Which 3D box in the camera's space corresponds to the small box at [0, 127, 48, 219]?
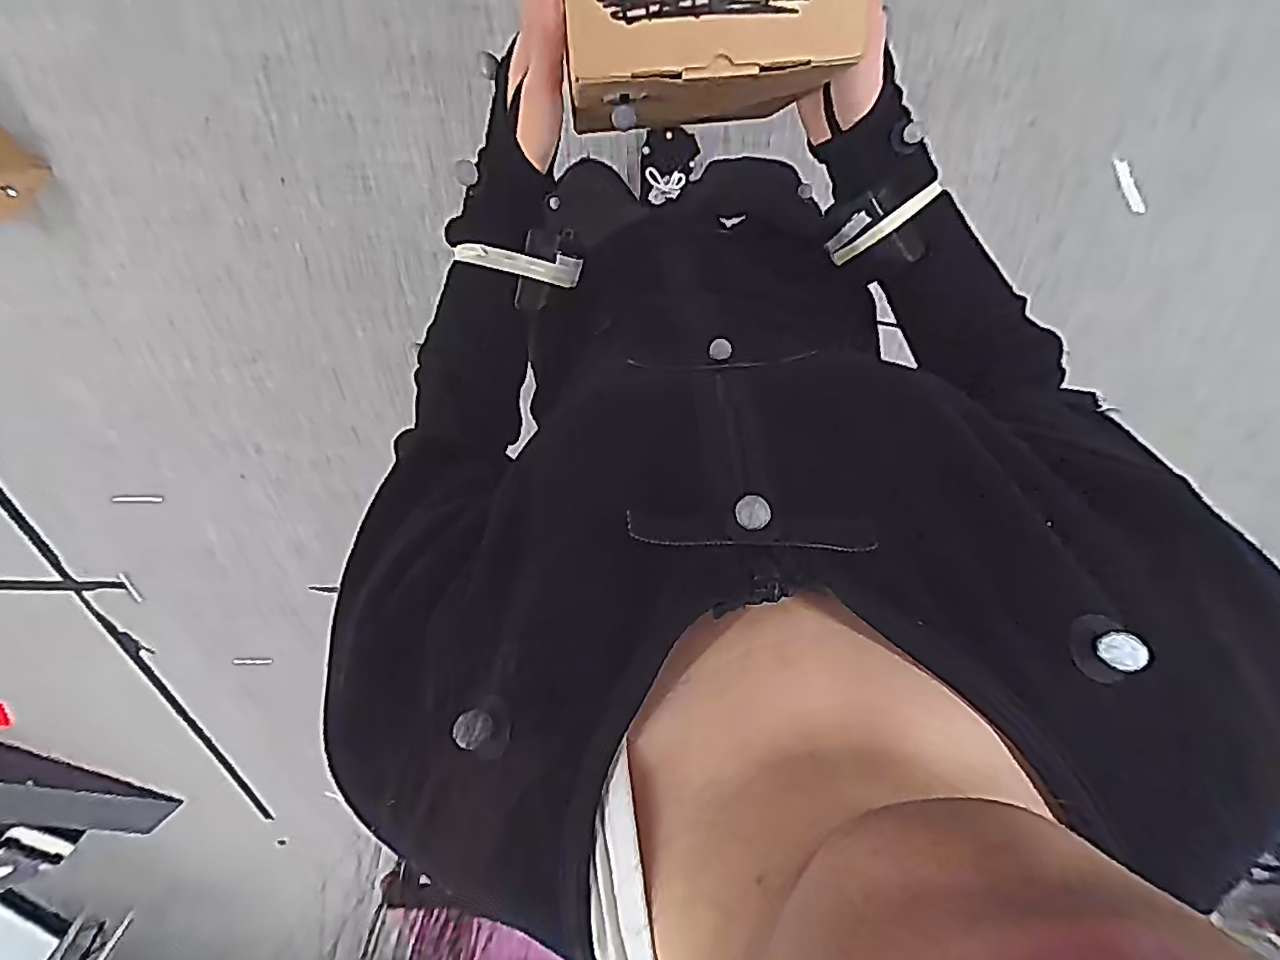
[{"bbox_3d":[-1.417,-0.659,1.120,0.168,0.176,0.179,-33,117,19],"label":"small box"}]
